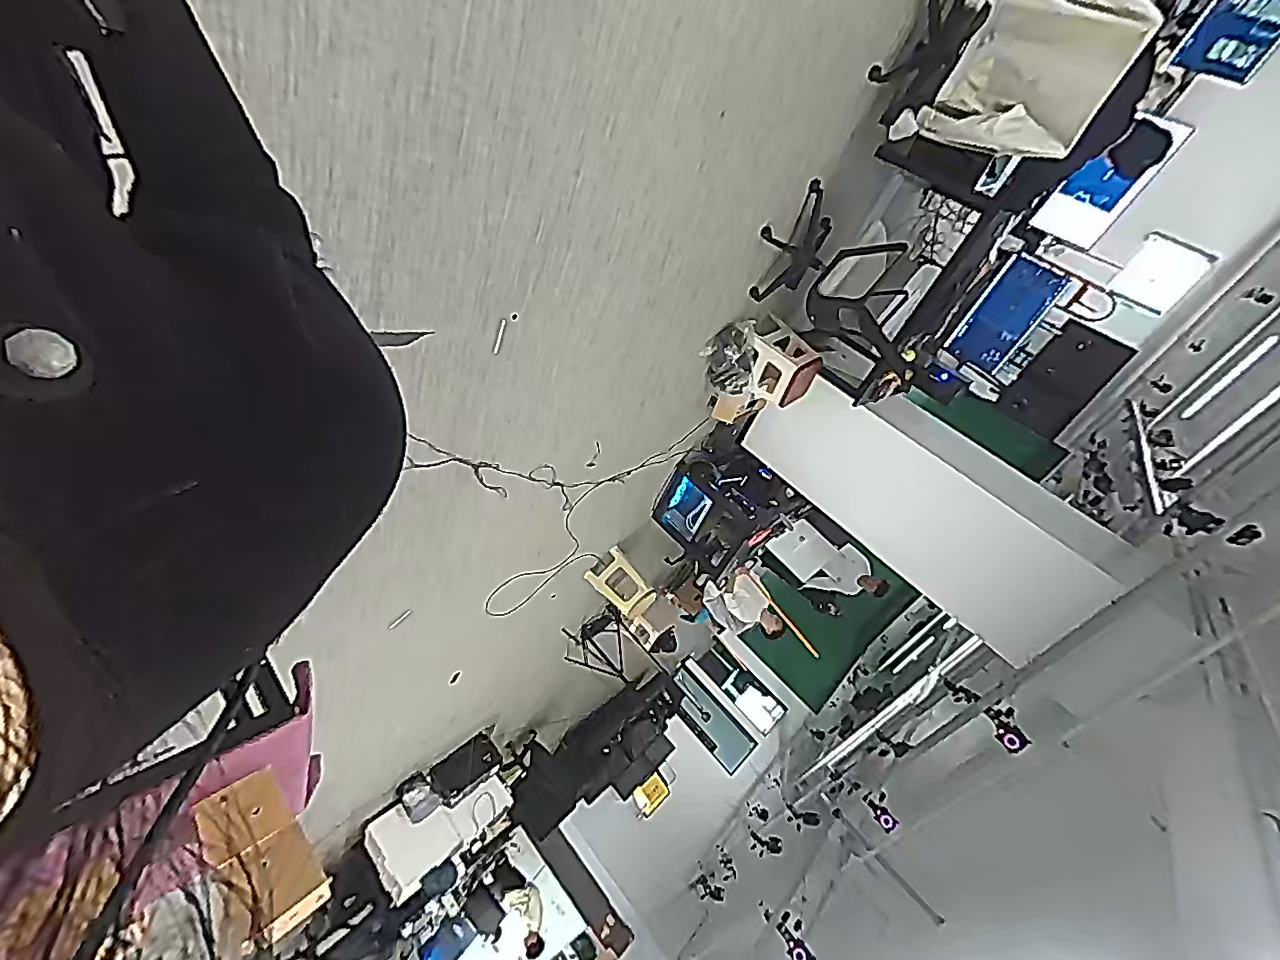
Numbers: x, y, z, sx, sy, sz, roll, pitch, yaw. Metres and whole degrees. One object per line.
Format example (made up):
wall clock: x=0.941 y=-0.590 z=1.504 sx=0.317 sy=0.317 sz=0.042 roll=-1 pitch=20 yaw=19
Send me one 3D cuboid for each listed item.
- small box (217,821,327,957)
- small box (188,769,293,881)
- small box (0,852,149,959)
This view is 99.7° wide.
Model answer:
small box: x=-0.872 y=0.963 z=1.282 sx=0.179 sy=0.176 sz=0.168 roll=-23 pitch=148 yaw=-42
small box: x=-0.983 y=0.856 z=1.338 sx=0.168 sy=0.176 sz=0.179 roll=-22 pitch=147 yaw=-44
small box: x=-1.173 y=0.928 z=1.124 sx=0.179 sy=0.176 sz=0.168 roll=-20 pitch=145 yaw=-45
